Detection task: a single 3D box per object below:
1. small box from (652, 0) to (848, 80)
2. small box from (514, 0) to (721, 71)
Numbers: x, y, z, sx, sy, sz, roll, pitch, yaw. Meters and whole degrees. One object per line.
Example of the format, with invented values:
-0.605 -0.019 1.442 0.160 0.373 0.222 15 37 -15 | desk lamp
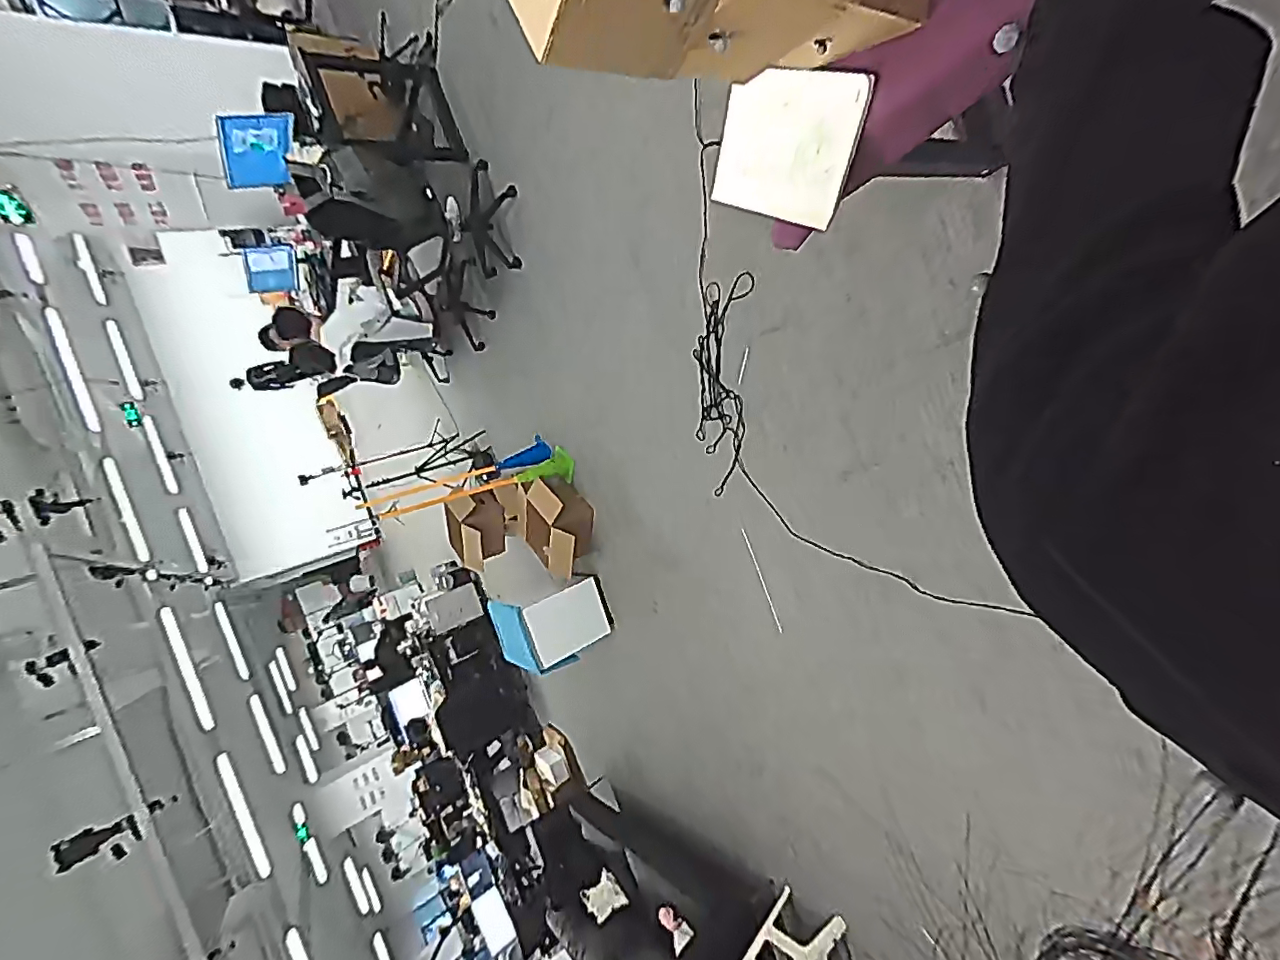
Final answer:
0.111 -0.567 0.581 0.179 0.176 0.168 7 113 55 | small box
-0.022 -0.519 0.497 0.168 0.176 0.179 -33 80 58 | small box
